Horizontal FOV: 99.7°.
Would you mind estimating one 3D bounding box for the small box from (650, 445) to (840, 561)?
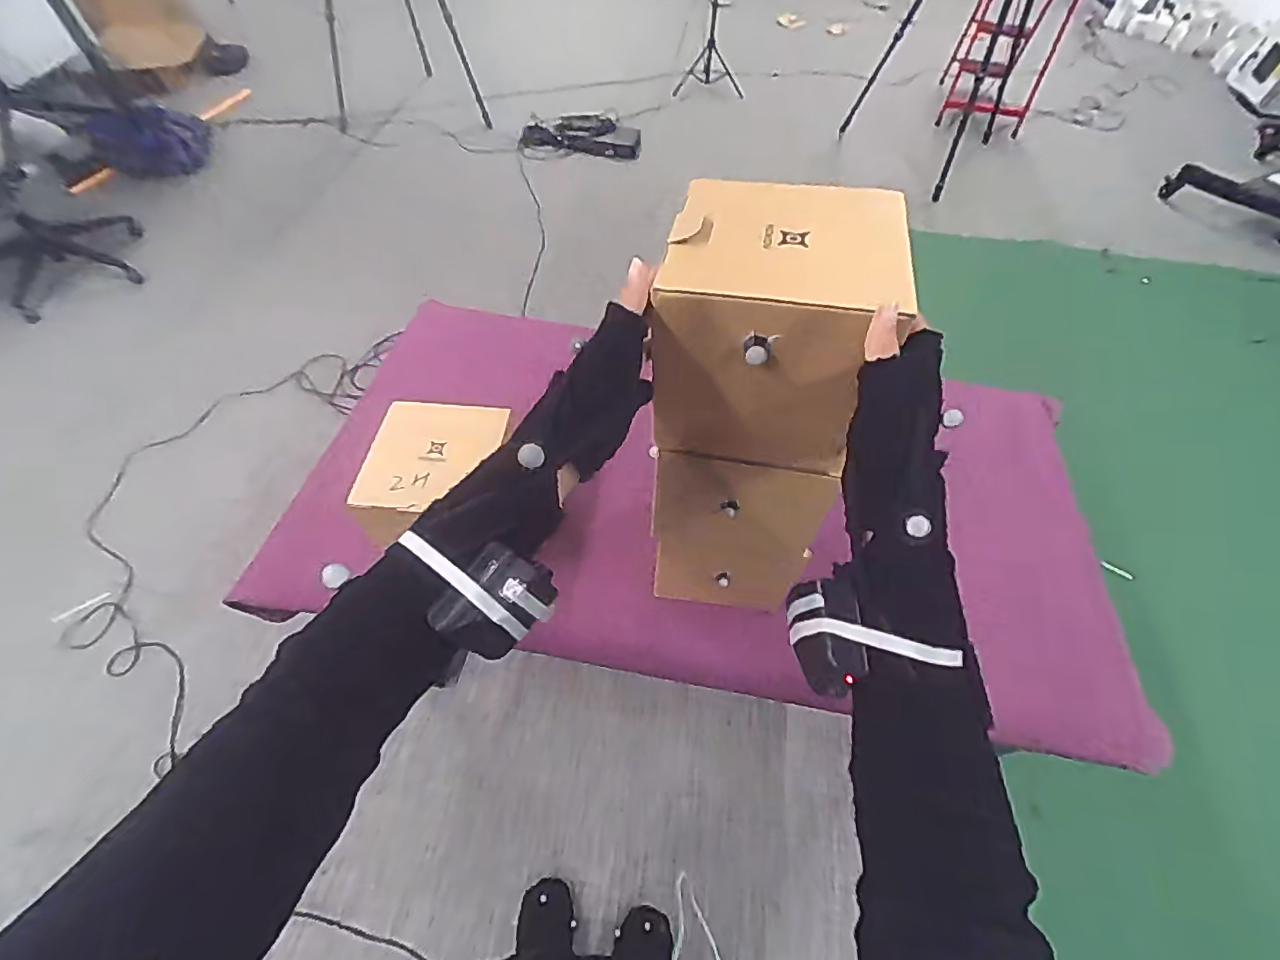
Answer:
[{"bbox_3d":[0.112,-0.025,0.612,0.179,0.176,0.168,10,55,5],"label":"small box"}]

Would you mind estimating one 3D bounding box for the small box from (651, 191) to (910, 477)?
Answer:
[{"bbox_3d":[0.113,-0.122,0.472,0.179,0.176,0.168,9,54,10],"label":"small box"}]

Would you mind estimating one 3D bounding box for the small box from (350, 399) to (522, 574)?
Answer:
[{"bbox_3d":[-0.268,0.012,0.763,0.168,0.176,0.179,5,55,0],"label":"small box"}]
